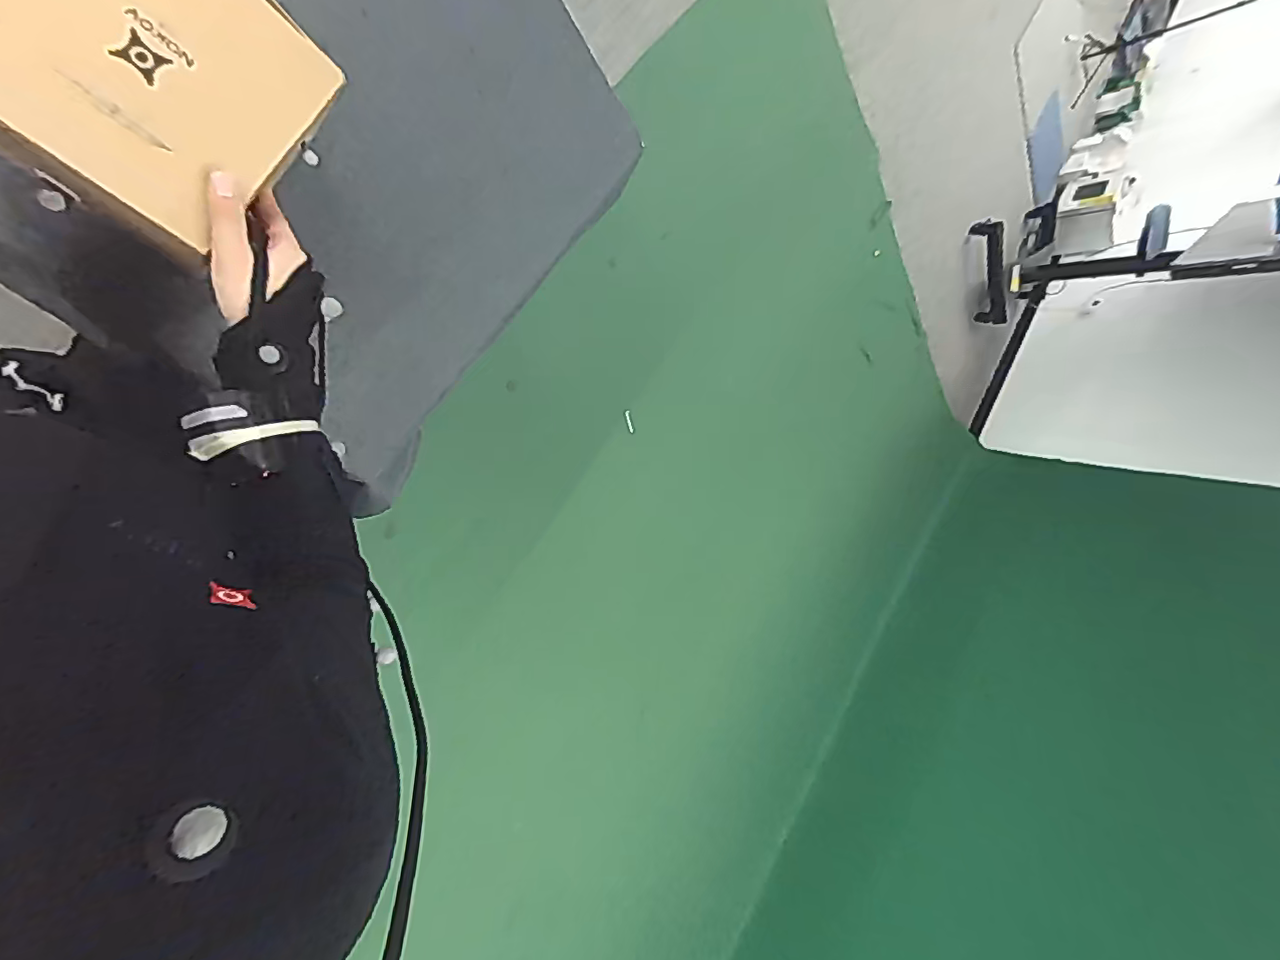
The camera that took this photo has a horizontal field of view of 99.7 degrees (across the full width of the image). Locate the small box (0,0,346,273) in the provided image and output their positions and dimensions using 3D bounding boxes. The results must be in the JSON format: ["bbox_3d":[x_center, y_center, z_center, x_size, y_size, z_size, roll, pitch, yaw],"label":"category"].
[{"bbox_3d":[-0.360,-0.281,0.399,0.168,0.176,0.179,37,77,-39],"label":"small box"}]
